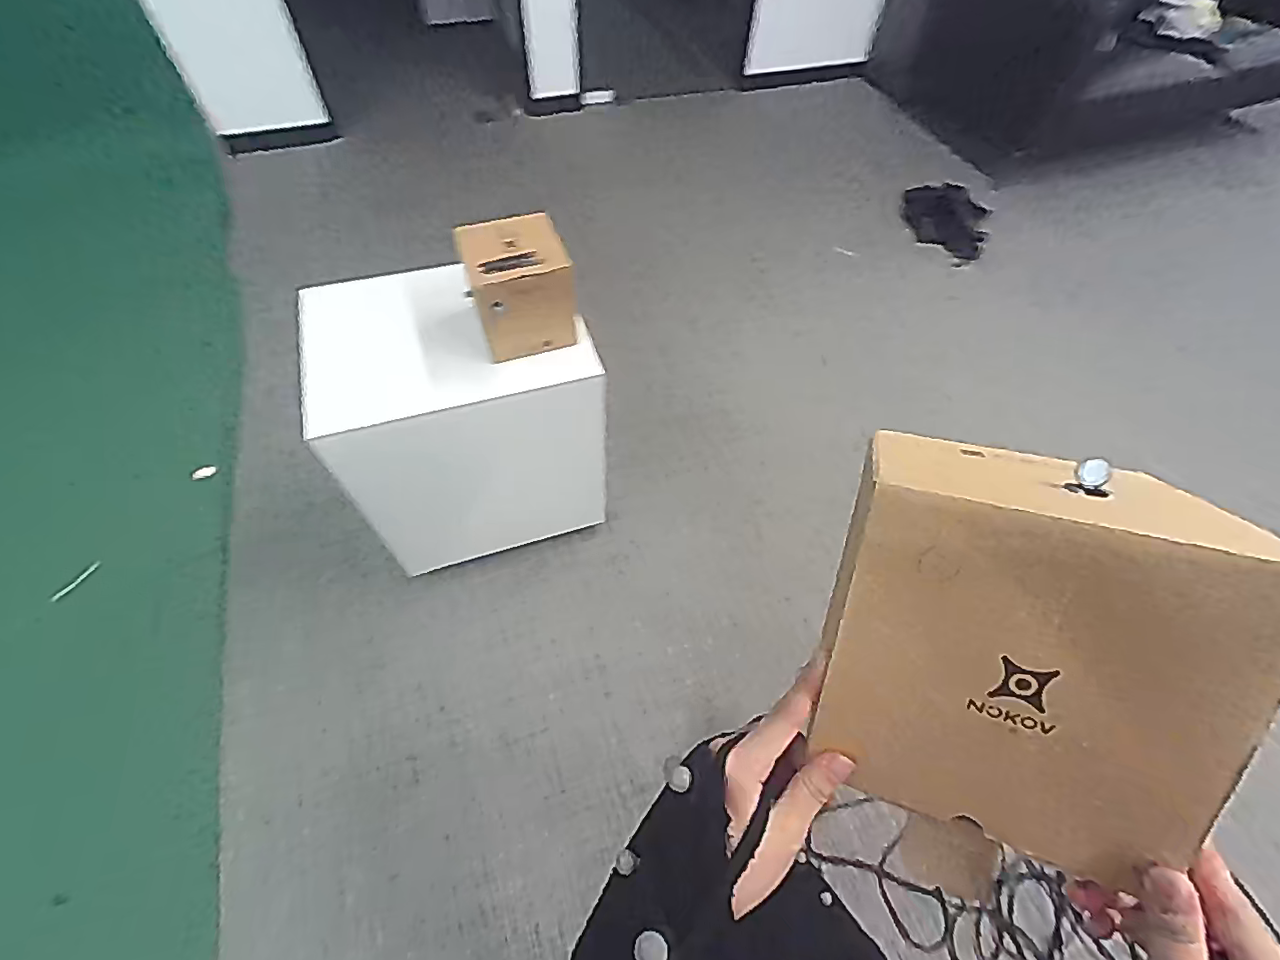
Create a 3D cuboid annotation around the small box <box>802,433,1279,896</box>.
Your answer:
[{"bbox_3d":[0.201,0.077,0.323,0.168,0.179,0.176,12,18,19],"label":"small box"}]
